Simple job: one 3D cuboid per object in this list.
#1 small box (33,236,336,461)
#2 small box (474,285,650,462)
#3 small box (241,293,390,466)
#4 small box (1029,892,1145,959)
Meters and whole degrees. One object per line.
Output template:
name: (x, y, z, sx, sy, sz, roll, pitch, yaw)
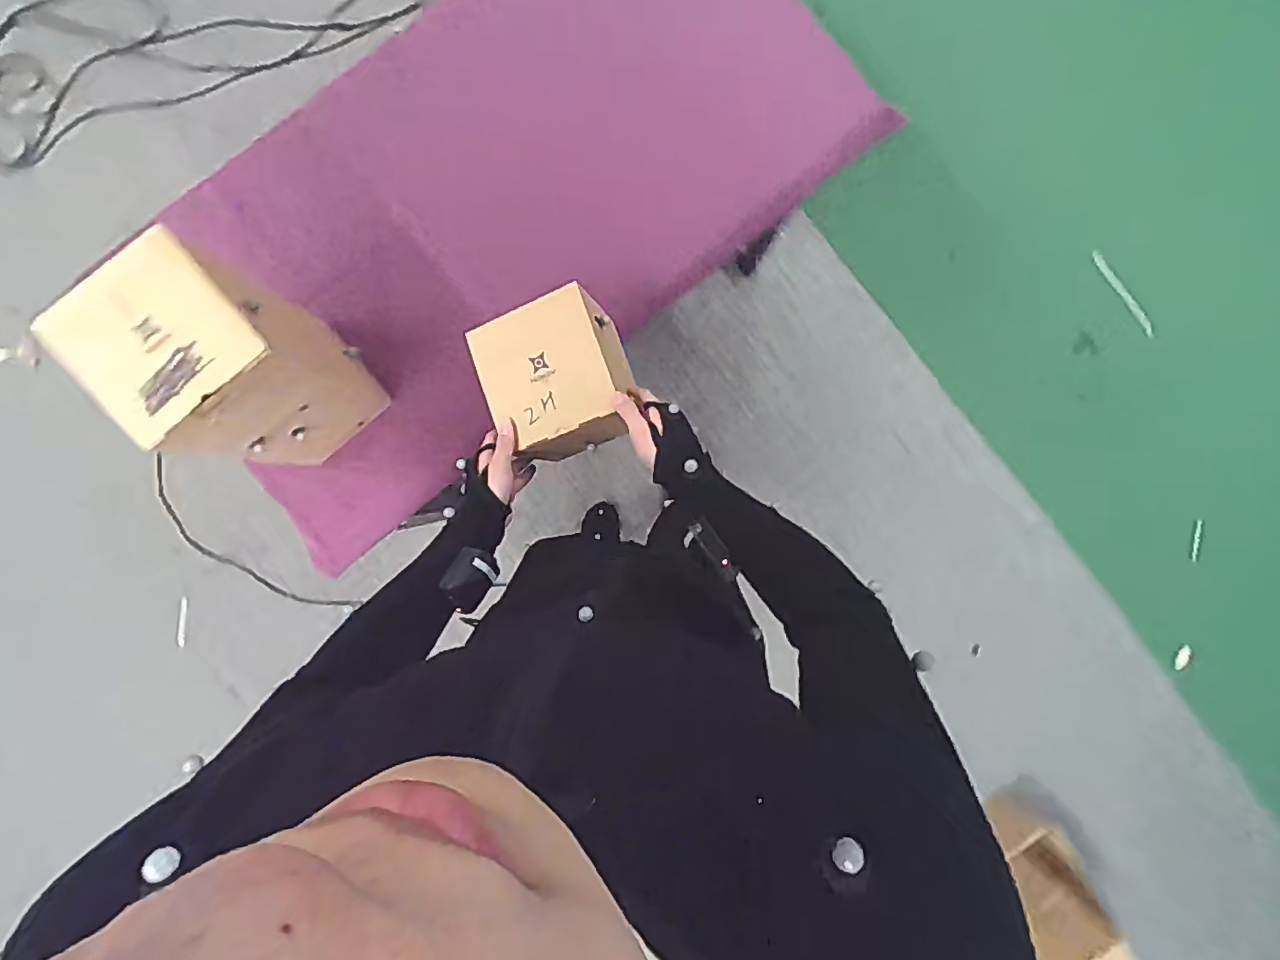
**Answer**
small box: (-0.509, -0.137, 0.638, 0.168, 0.176, 0.179, -42, 90, -3)
small box: (-0.099, -0.135, 0.757, 0.168, 0.176, 0.179, -20, 84, 12)
small box: (-0.518, -0.133, 0.802, 0.168, 0.176, 0.179, -42, 90, -2)
small box: (1.148, 1.208, 1.364, 0.168, 0.176, 0.179, -35, 92, -1)
